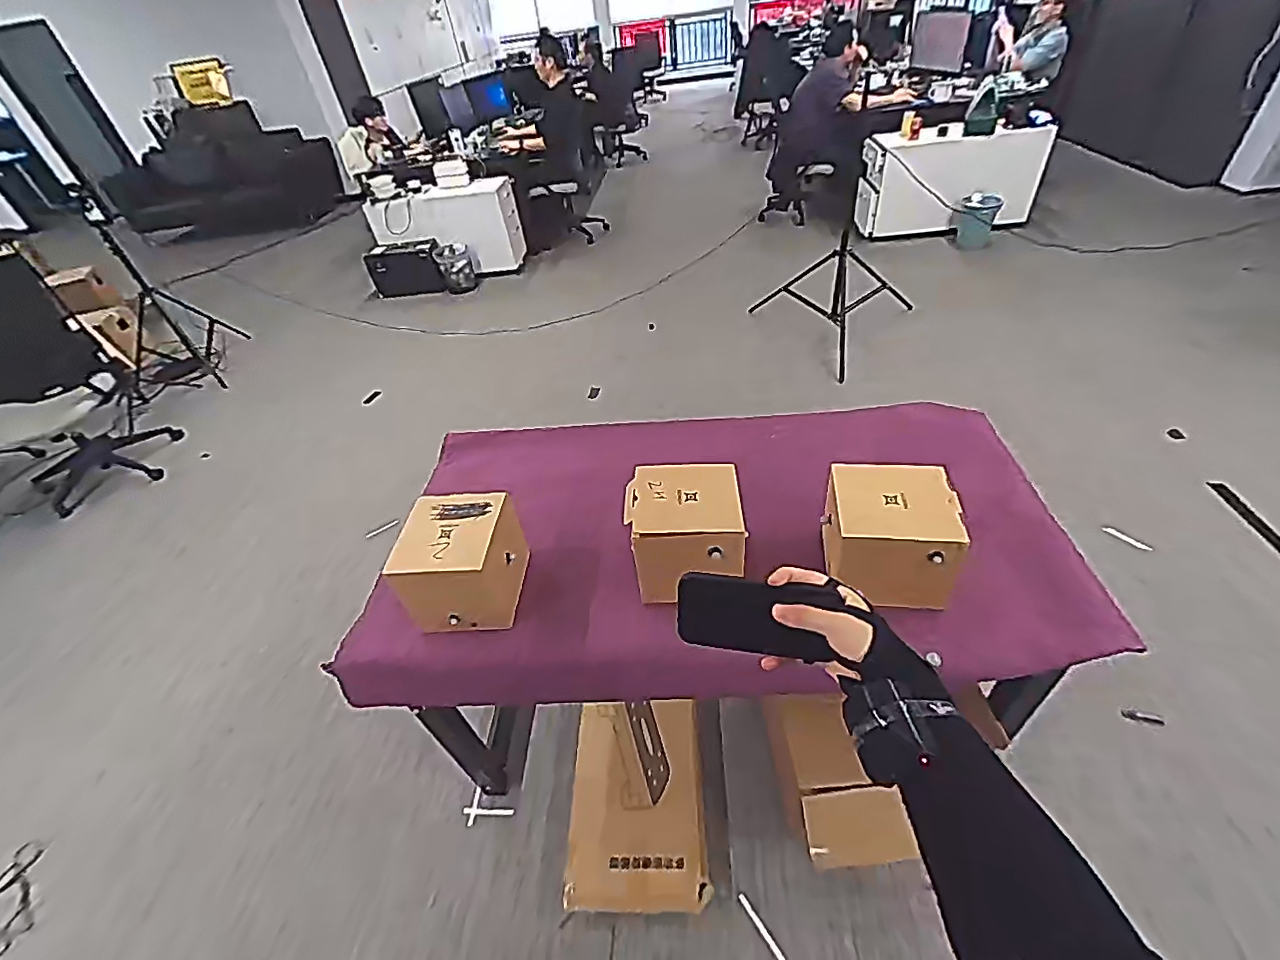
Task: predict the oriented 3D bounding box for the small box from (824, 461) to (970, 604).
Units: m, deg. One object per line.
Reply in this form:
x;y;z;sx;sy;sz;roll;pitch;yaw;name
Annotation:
0.401;0.085;0.881;0.179;0.176;0.168;1;43;11;small box

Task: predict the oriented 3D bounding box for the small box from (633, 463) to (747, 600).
0.086;0.089;0.929;0.179;0.176;0.168;-4;40;6;small box
